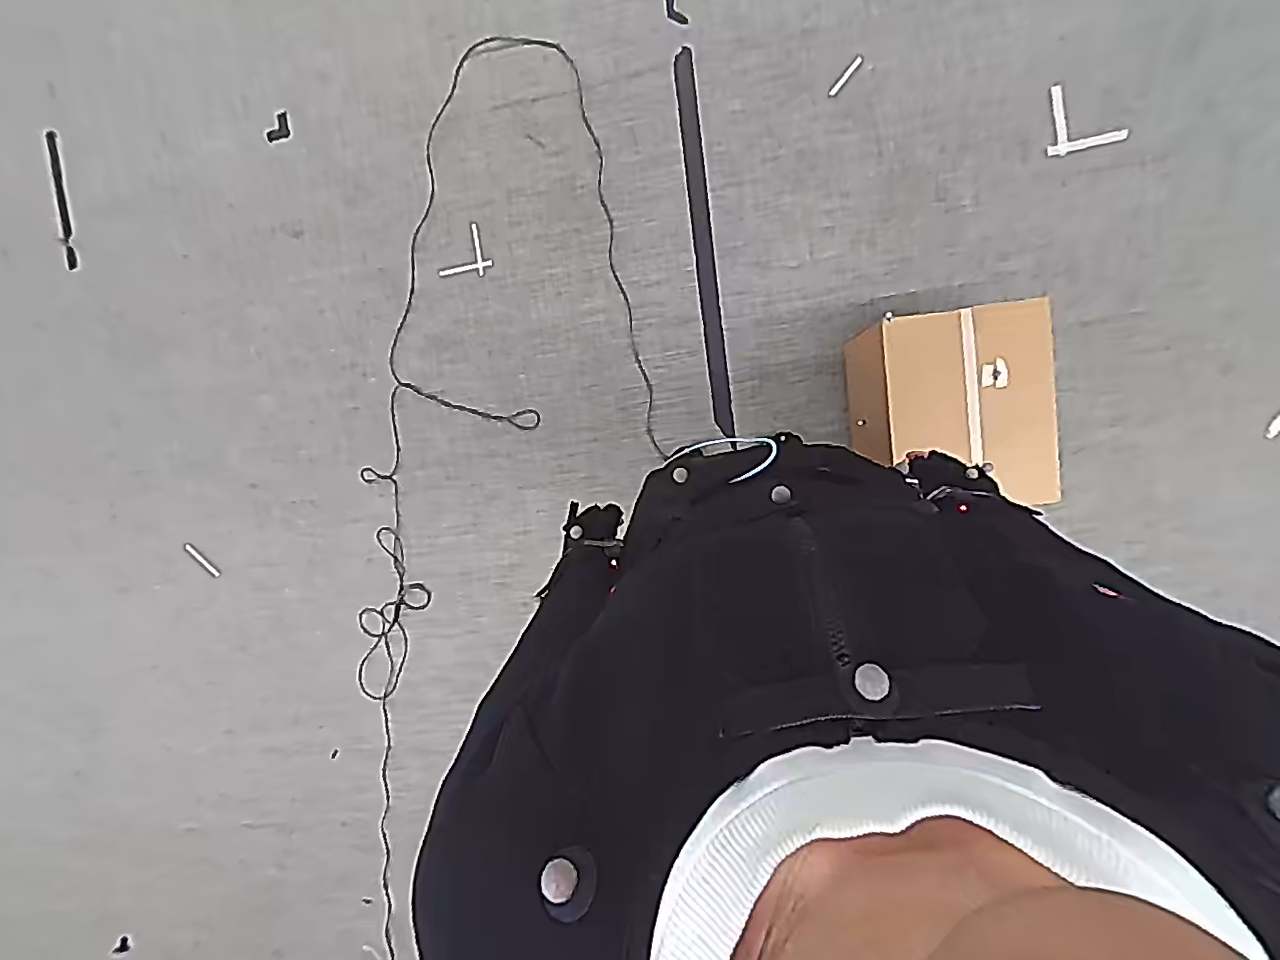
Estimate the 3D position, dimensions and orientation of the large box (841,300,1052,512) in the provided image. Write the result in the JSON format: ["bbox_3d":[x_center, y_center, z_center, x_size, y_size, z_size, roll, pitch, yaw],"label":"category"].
[{"bbox_3d":[0.672,-0.153,1.244,0.320,0.320,0.408,-6,93,6],"label":"large box"}]
